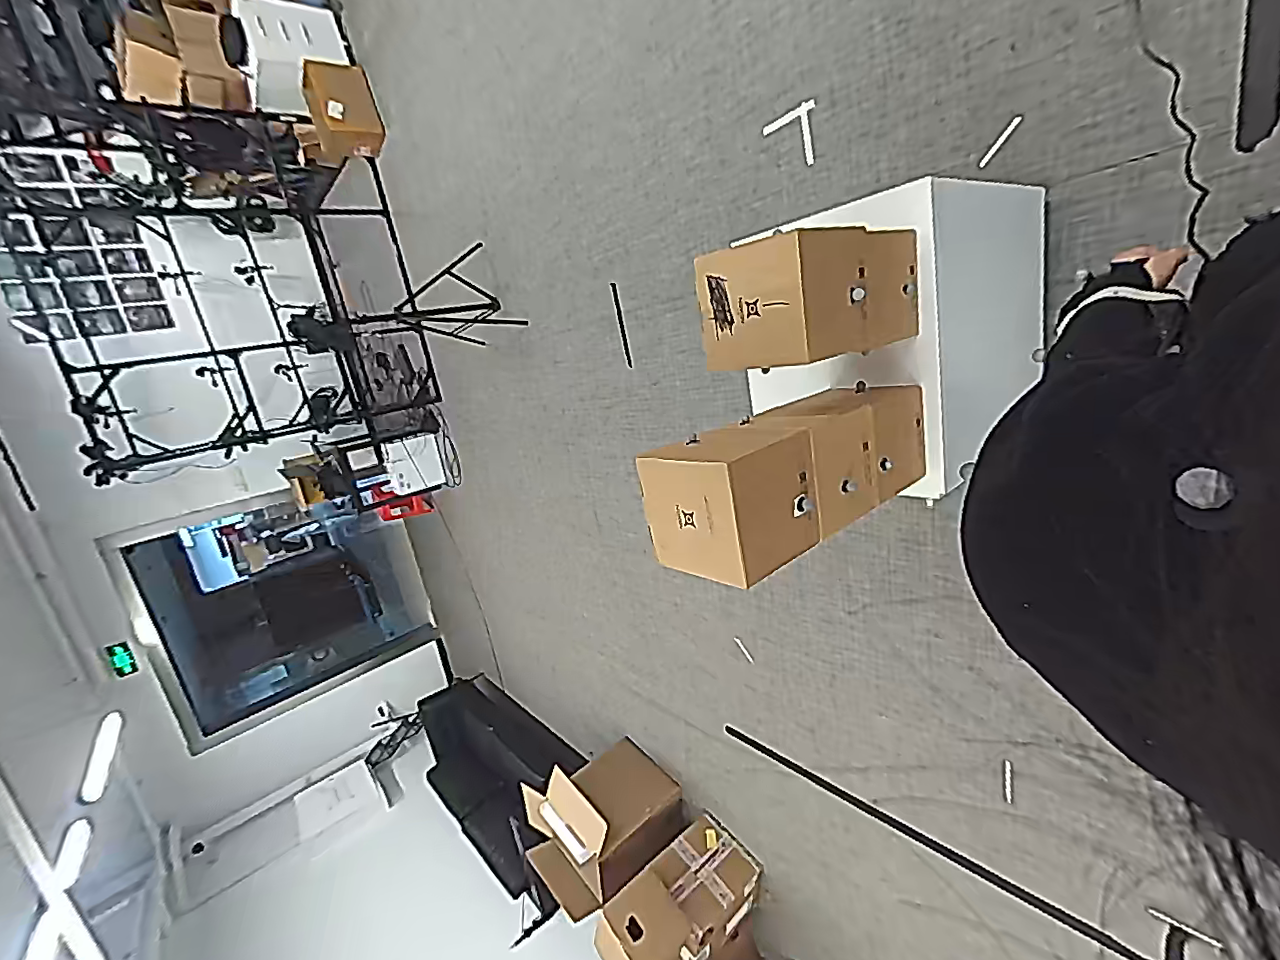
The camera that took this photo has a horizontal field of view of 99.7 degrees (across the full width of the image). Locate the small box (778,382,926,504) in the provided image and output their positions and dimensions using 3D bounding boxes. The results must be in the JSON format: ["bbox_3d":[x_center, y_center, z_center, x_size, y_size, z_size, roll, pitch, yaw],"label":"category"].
[{"bbox_3d":[0.368,-0.072,0.939,0.179,0.176,0.168,9,115,52],"label":"small box"}]

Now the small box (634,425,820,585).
[{"bbox_3d":[0.122,0.023,0.750,0.179,0.176,0.168,5,112,51],"label":"small box"}]

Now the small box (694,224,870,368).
[{"bbox_3d":[0.204,-0.259,0.774,0.179,0.176,0.168,9,115,49],"label":"small box"}]

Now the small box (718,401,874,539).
[{"bbox_3d":[0.246,-0.024,0.843,0.179,0.176,0.168,6,112,52],"label":"small box"}]
